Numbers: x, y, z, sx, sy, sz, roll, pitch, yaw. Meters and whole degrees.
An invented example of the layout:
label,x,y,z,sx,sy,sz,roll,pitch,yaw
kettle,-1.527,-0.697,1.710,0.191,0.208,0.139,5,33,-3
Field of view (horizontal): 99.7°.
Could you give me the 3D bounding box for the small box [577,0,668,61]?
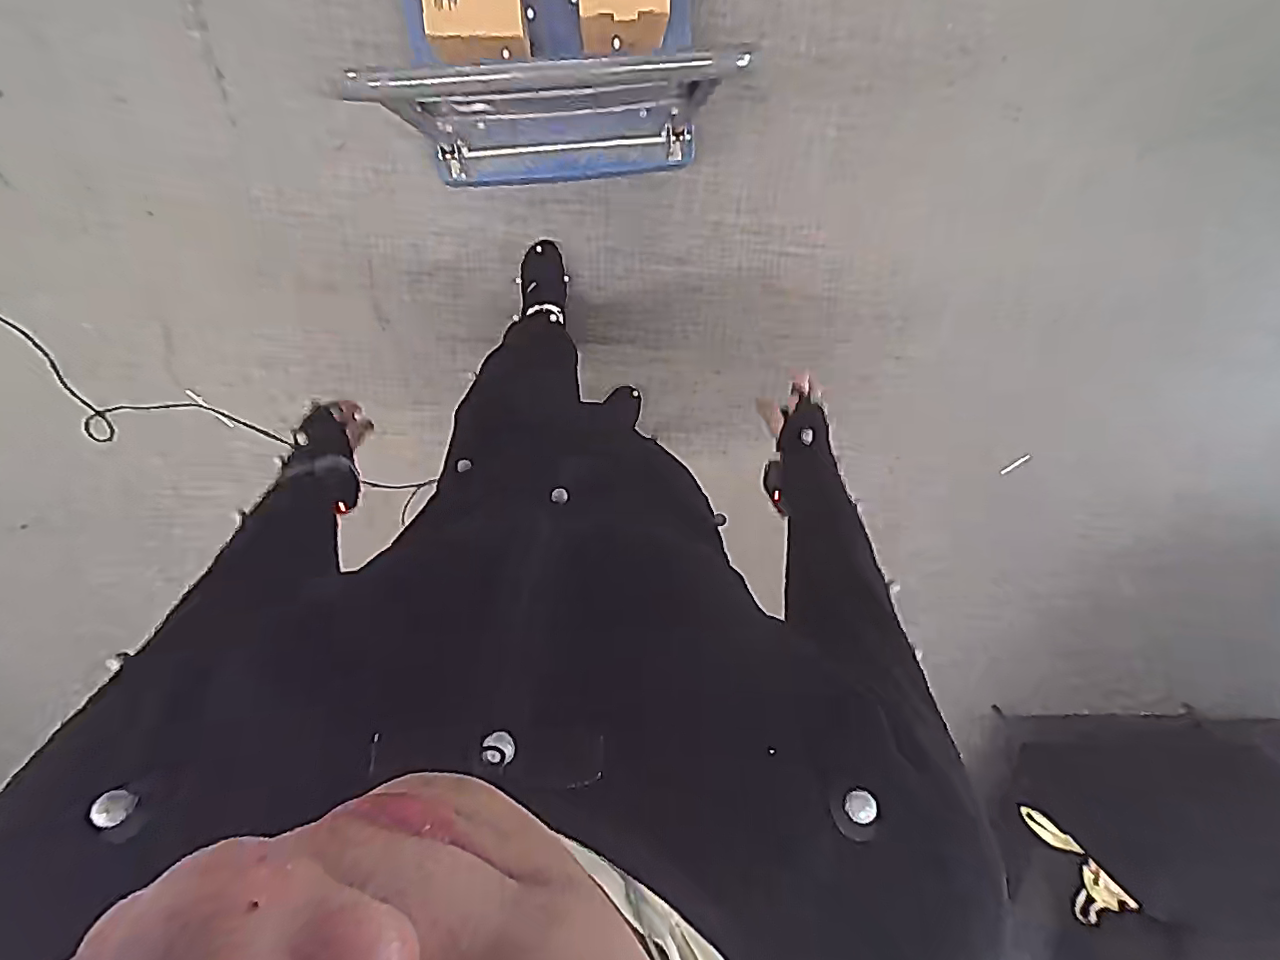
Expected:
label,x,y,z,sx,sy,sz,roll,pitch,yaw
small box,-0.040,-0.953,1.050,0.168,0.176,0.179,-5,111,-3
